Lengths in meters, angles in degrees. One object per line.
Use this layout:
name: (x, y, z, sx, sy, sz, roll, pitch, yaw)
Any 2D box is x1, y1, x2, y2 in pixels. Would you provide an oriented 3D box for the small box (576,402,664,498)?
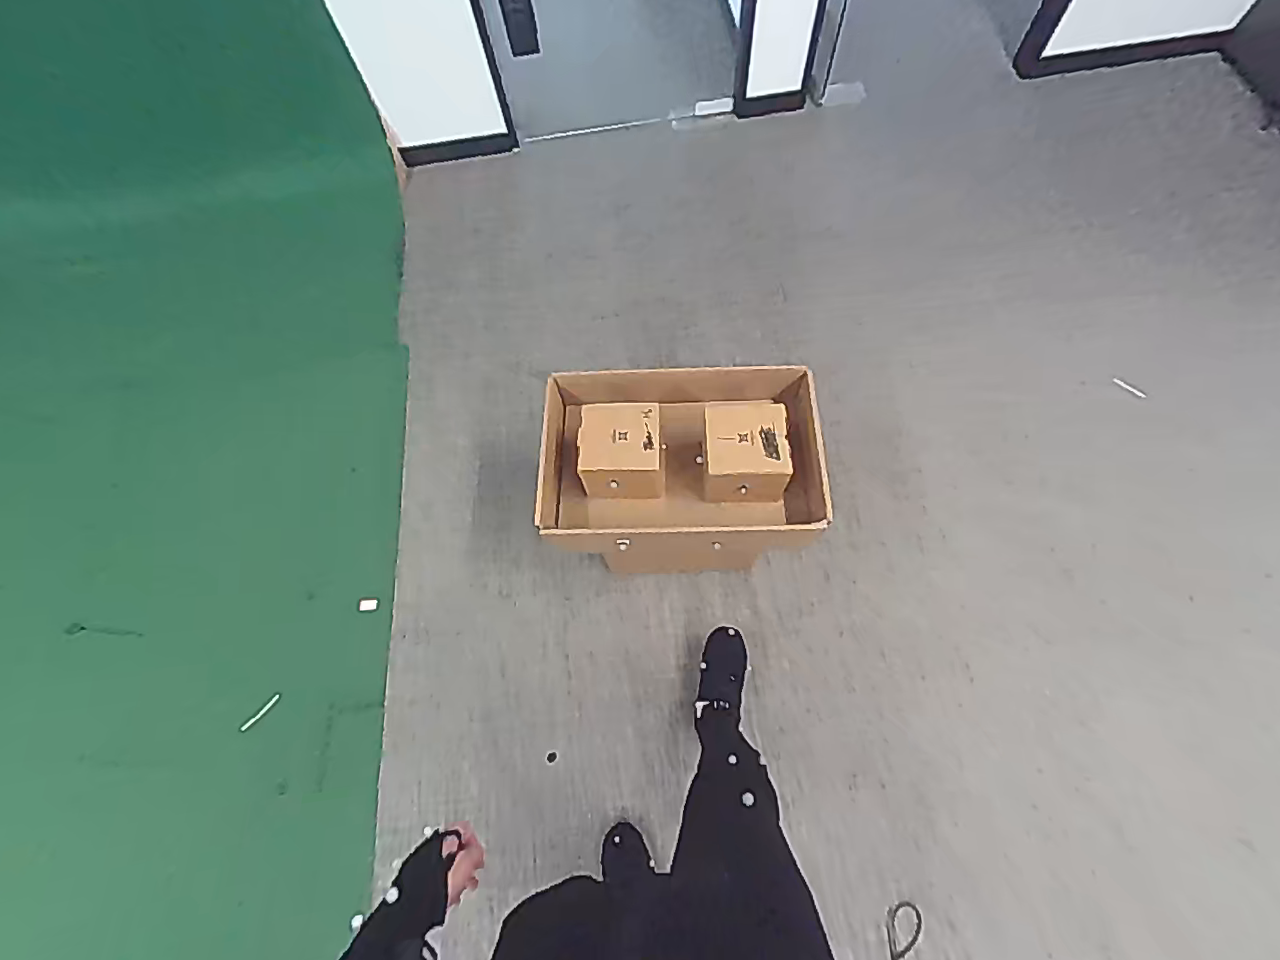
small box: (-0.039, -0.063, 1.230, 0.179, 0.176, 0.168, 0, 66, 5)
